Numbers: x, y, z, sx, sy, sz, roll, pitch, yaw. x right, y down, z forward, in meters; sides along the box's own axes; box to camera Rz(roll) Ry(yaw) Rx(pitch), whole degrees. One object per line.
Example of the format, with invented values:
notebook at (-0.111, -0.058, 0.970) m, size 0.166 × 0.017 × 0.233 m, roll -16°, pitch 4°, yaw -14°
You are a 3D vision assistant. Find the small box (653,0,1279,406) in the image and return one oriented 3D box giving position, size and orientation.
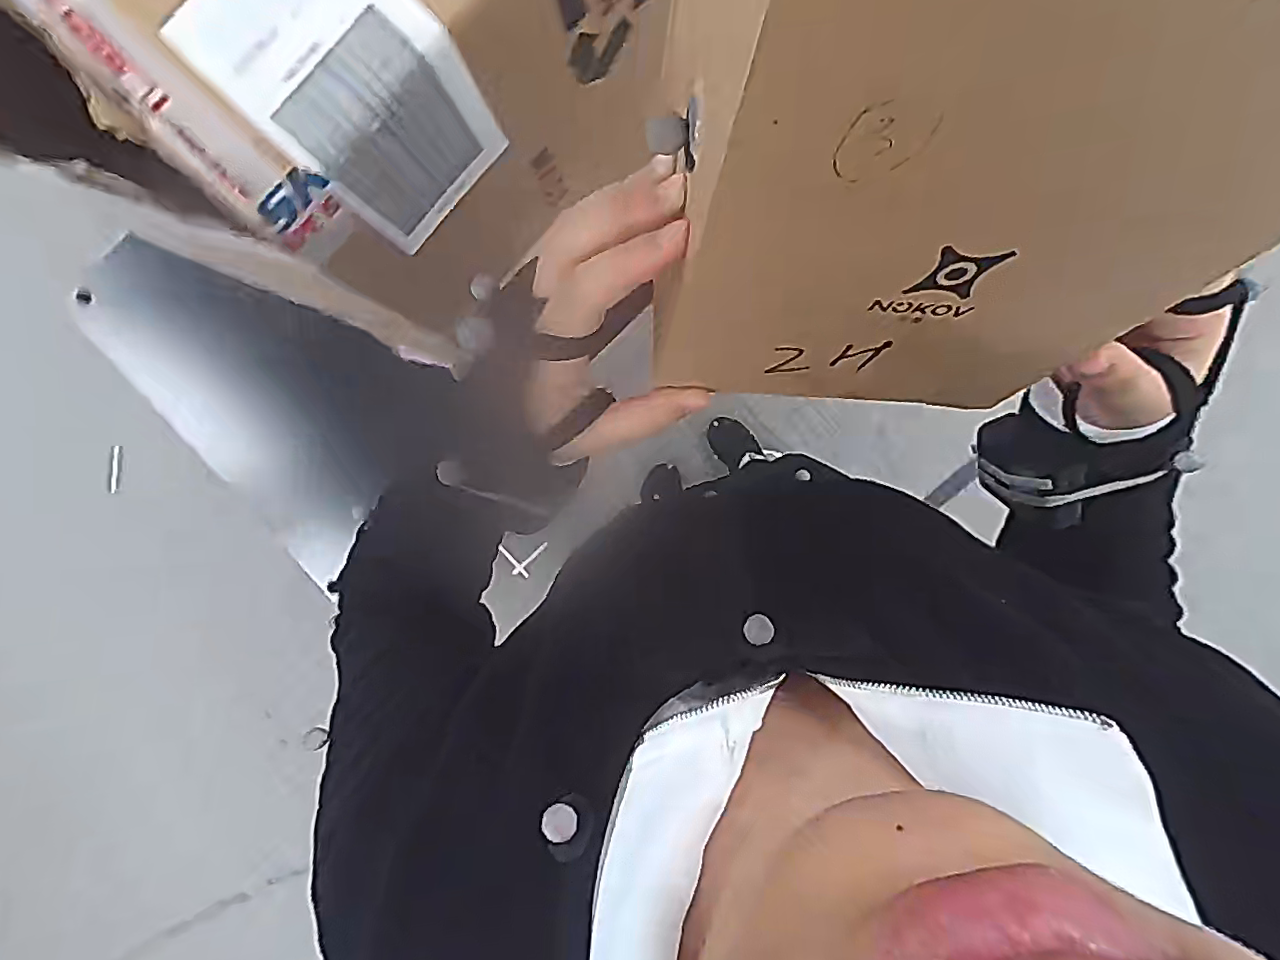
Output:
small box at (0.098, -0.145, 0.205) m, size 0.168 × 0.179 × 0.176 m, roll 4°, pitch 73°, yaw -6°
